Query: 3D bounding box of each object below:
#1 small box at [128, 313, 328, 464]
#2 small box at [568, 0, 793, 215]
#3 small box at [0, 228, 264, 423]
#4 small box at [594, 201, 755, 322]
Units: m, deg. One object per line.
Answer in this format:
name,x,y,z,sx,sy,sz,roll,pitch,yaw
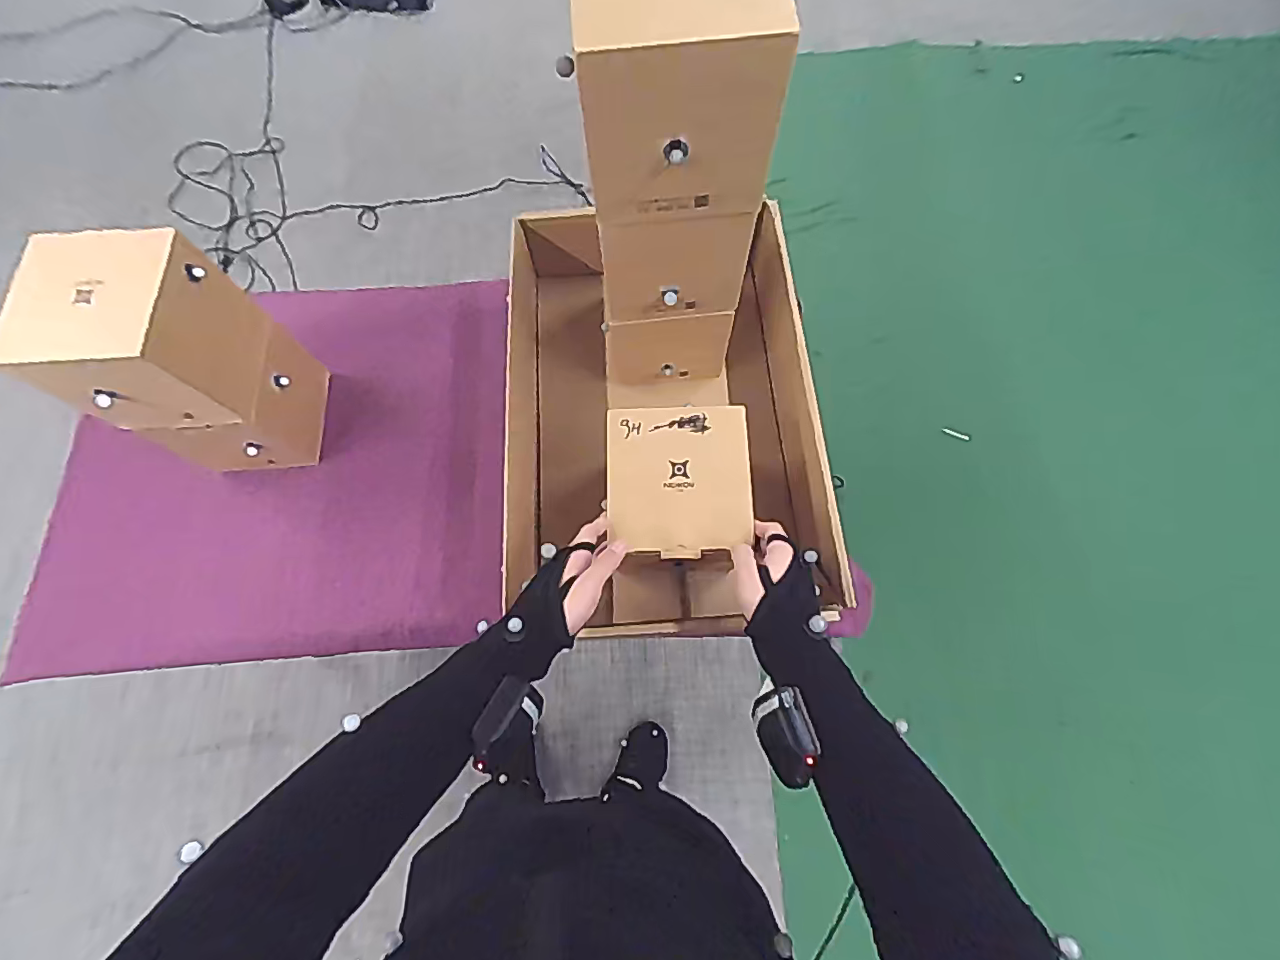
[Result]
small box,-0.606,-0.129,0.824,0.168,0.176,0.179,-3,70,-1
small box,0.028,-0.365,0.491,0.168,0.176,0.179,-4,72,0
small box,-0.608,-0.178,0.670,0.168,0.176,0.179,-4,70,-1
small box,0.032,-0.316,0.649,0.168,0.176,0.179,-5,72,1
